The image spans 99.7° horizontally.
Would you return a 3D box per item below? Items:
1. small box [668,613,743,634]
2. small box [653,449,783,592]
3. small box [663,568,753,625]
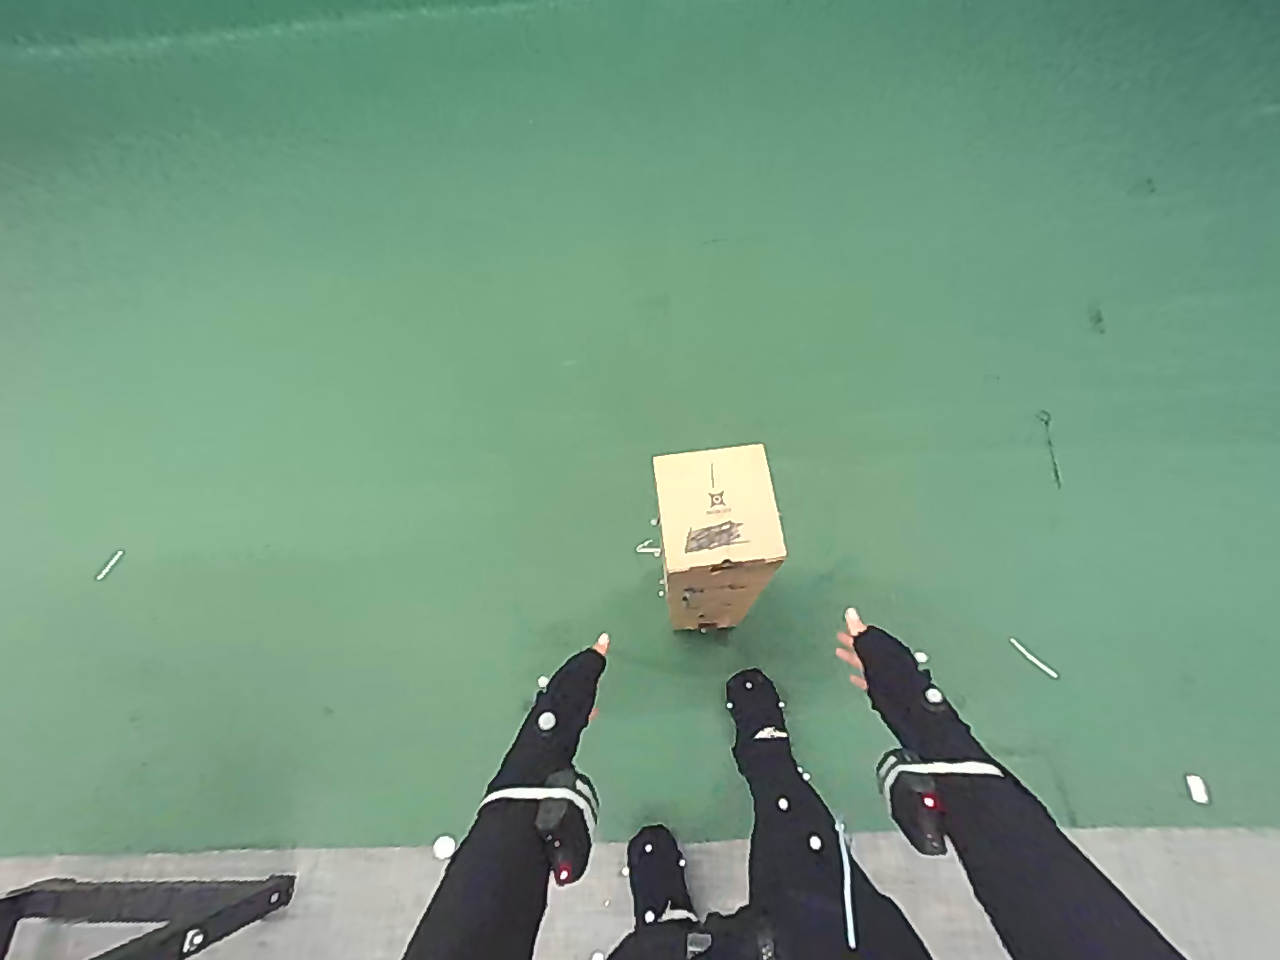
[{"bbox_3d":[0.147,0.264,1.292,0.168,0.176,0.179,-4,67,3],"label":"small box"},{"bbox_3d":[0.113,0.072,0.841,0.168,0.176,0.179,-7,67,1],"label":"small box"},{"bbox_3d":[0.135,0.202,1.143,0.168,0.176,0.179,-6,68,1],"label":"small box"}]
